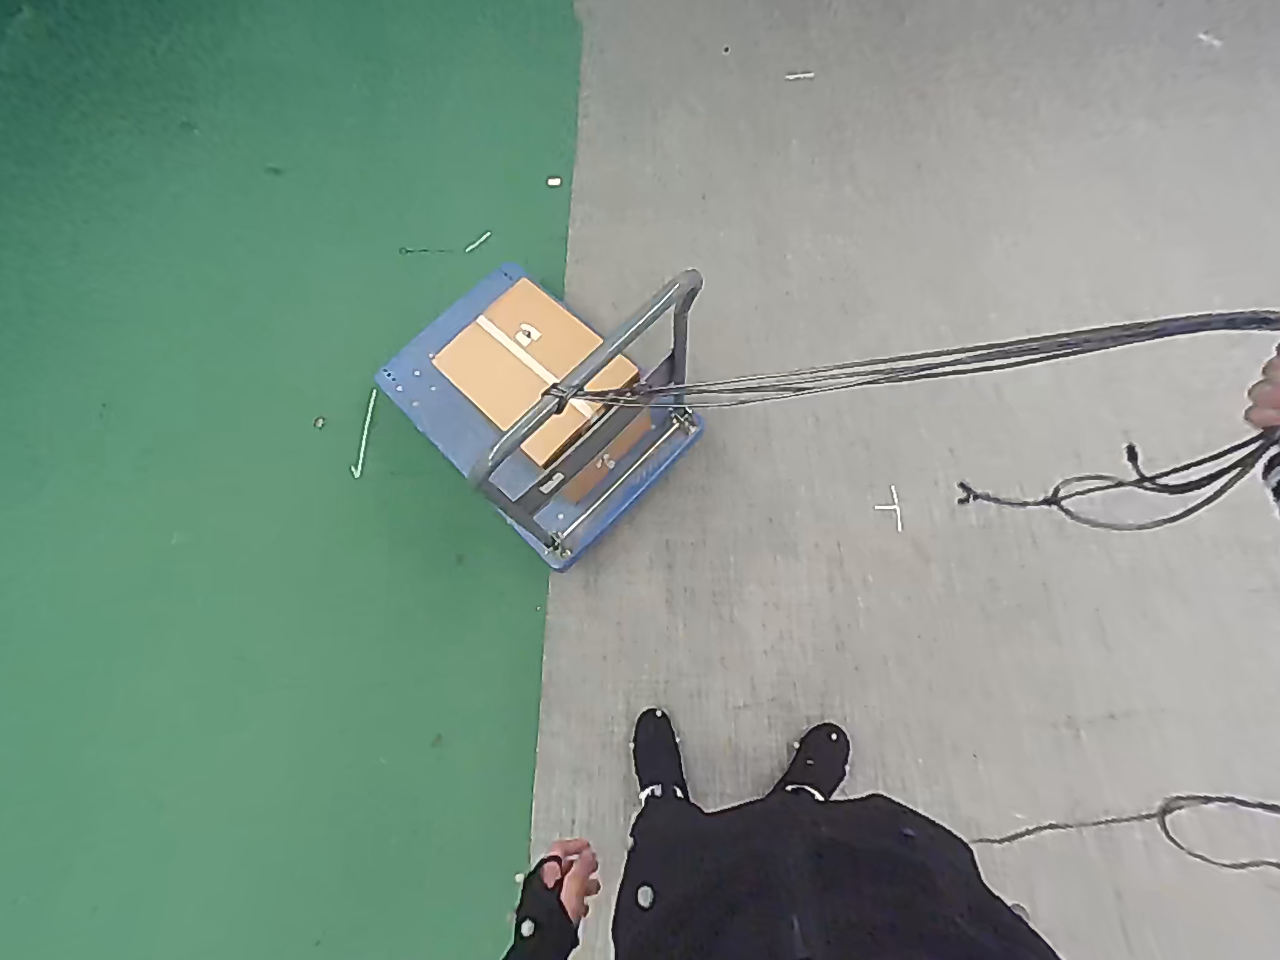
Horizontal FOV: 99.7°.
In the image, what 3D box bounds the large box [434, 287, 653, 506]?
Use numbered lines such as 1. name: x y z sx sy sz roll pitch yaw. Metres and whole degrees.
1. large box: -0.225 -0.201 1.384 0.408 0.320 0.320 41 80 19
